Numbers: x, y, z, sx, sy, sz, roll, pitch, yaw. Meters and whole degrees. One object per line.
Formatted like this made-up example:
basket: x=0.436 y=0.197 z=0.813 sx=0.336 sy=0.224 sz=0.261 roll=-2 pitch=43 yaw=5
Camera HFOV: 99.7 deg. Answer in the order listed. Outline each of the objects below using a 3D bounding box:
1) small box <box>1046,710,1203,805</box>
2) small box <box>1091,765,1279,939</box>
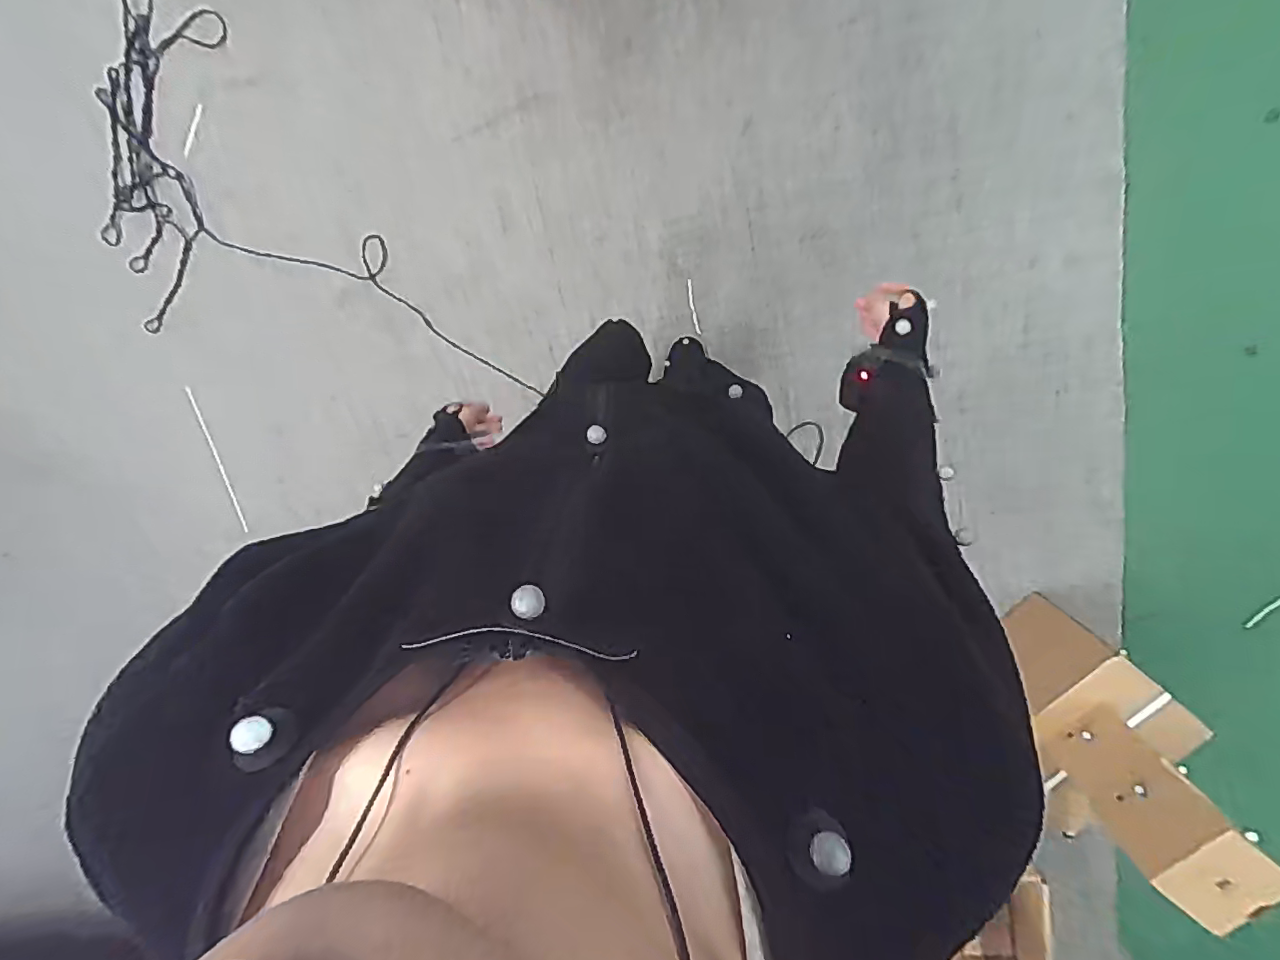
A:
small box: x=1.039 y=0.639 z=1.159 sx=0.179 sy=0.176 sz=0.168 roll=42 pitch=105 yaw=-4
small box: x=1.013 y=0.679 z=1.003 sx=0.179 sy=0.176 sz=0.168 roll=39 pitch=105 yaw=-4
